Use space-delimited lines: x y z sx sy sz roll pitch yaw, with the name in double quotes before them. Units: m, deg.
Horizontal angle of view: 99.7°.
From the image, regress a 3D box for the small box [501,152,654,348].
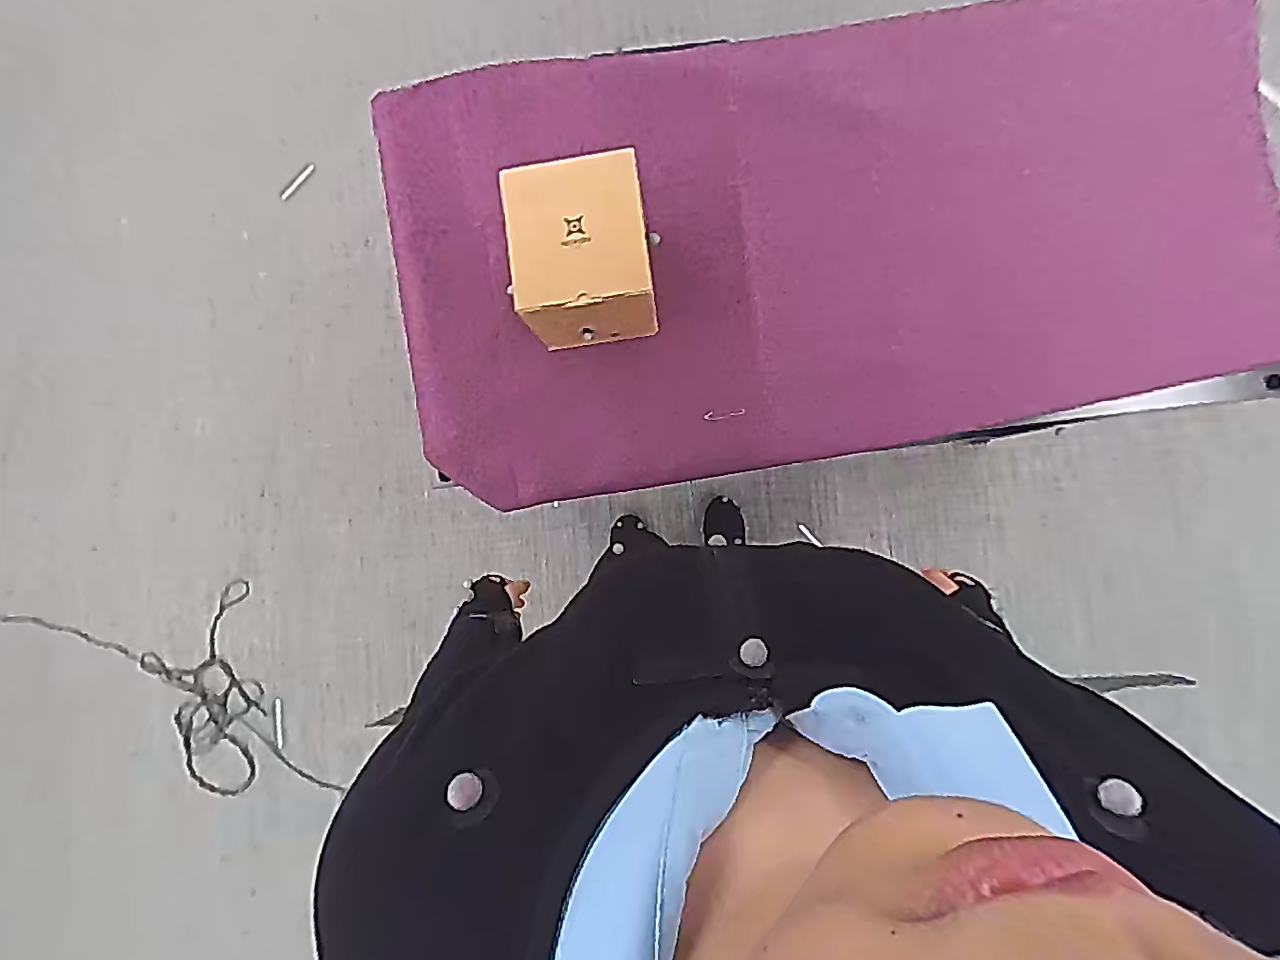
"small box" -0.073 -0.292 0.720 0.168 0.176 0.179 -8 89 3
